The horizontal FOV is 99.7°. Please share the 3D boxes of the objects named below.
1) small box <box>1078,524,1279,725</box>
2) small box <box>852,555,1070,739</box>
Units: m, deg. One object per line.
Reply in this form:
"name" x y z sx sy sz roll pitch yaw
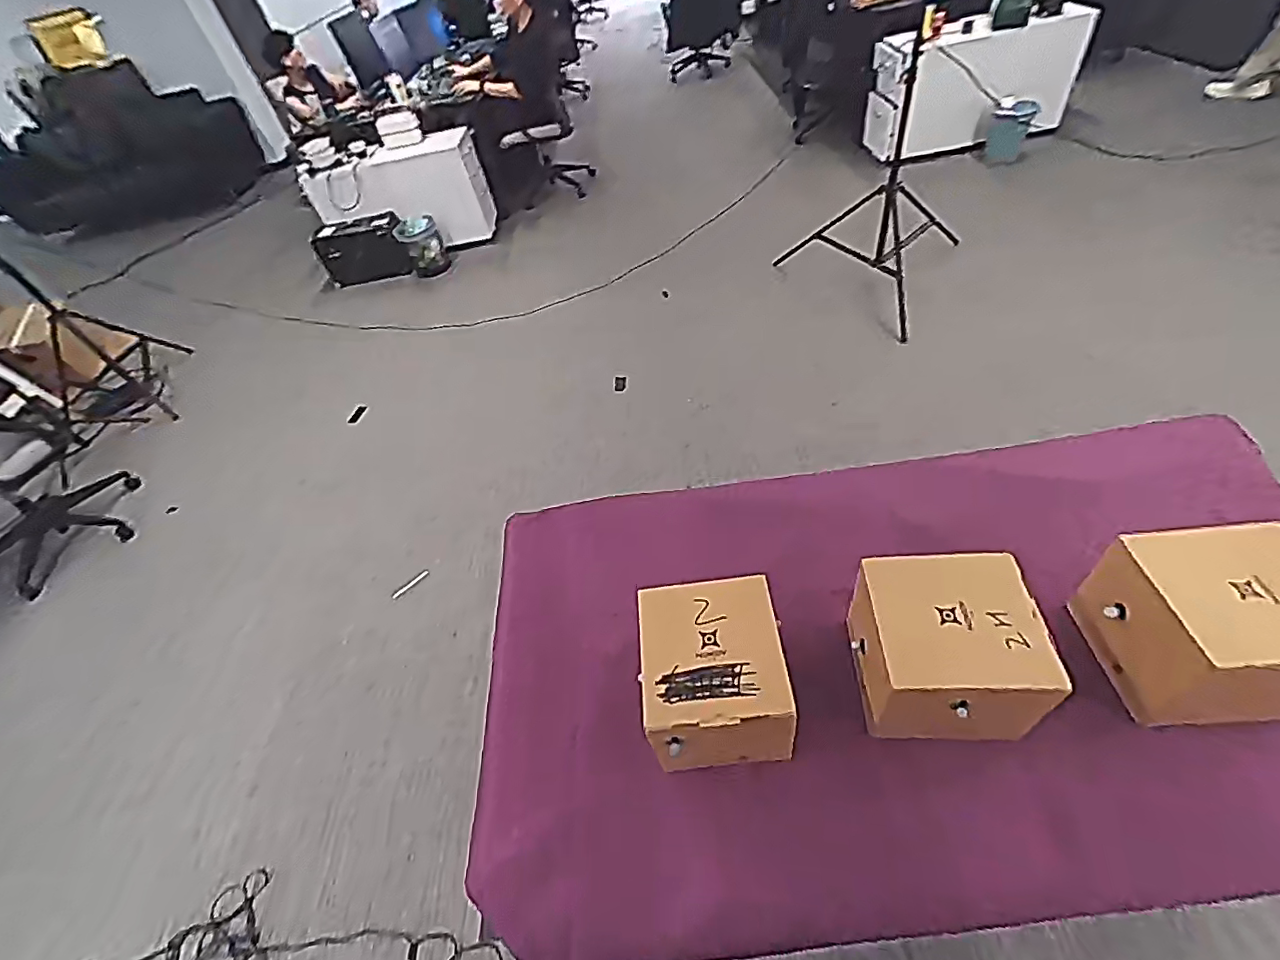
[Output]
"small box" 0.663 0.174 0.633 0.179 0.176 0.168 -6 46 7
"small box" 0.368 0.208 0.667 0.179 0.176 0.168 -3 48 10
